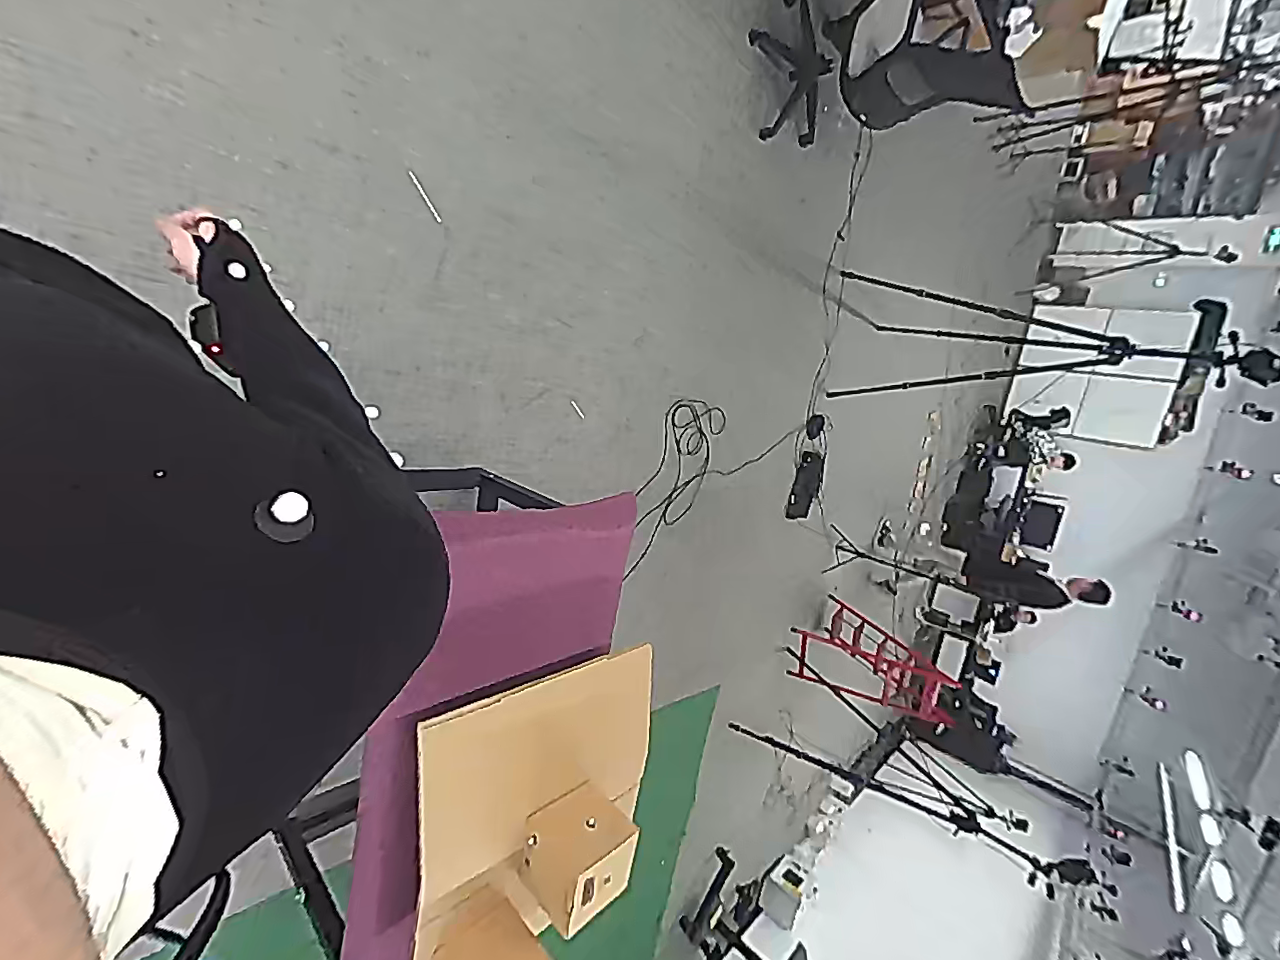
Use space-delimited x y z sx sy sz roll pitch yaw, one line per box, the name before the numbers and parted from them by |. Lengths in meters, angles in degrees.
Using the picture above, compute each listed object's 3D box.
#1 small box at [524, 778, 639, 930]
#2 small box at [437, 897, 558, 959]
small box | -0.131 0.799 1.176 0.179 0.176 0.168 -5 111 -48
small box | -0.296 1.009 1.092 0.179 0.176 0.168 -4 110 -46
